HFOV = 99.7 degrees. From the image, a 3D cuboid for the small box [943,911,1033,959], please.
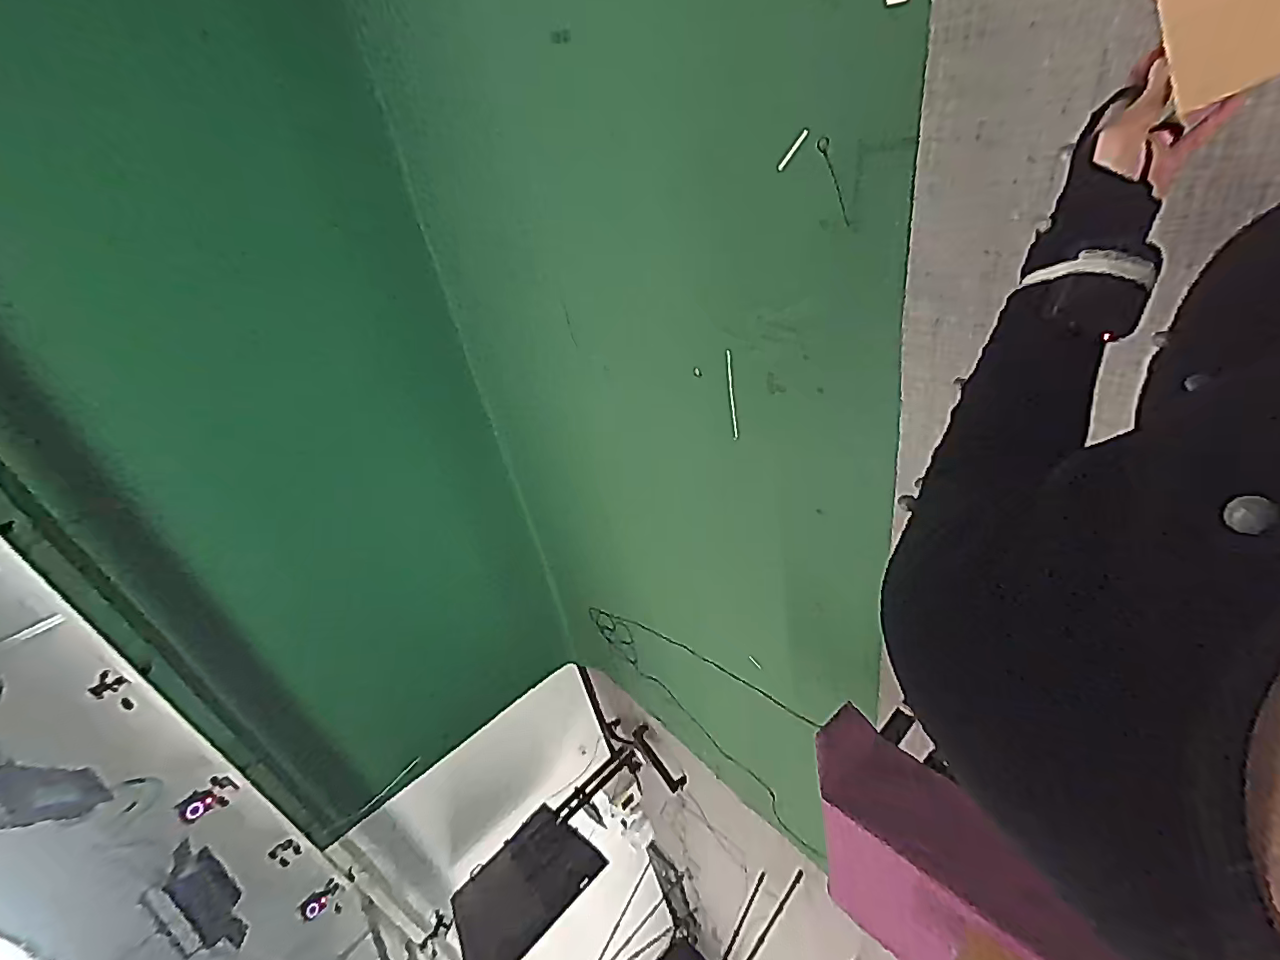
[{"bbox_3d":[0.795,1.148,1.228,0.179,0.176,0.168,23,136,46],"label":"small box"}]
